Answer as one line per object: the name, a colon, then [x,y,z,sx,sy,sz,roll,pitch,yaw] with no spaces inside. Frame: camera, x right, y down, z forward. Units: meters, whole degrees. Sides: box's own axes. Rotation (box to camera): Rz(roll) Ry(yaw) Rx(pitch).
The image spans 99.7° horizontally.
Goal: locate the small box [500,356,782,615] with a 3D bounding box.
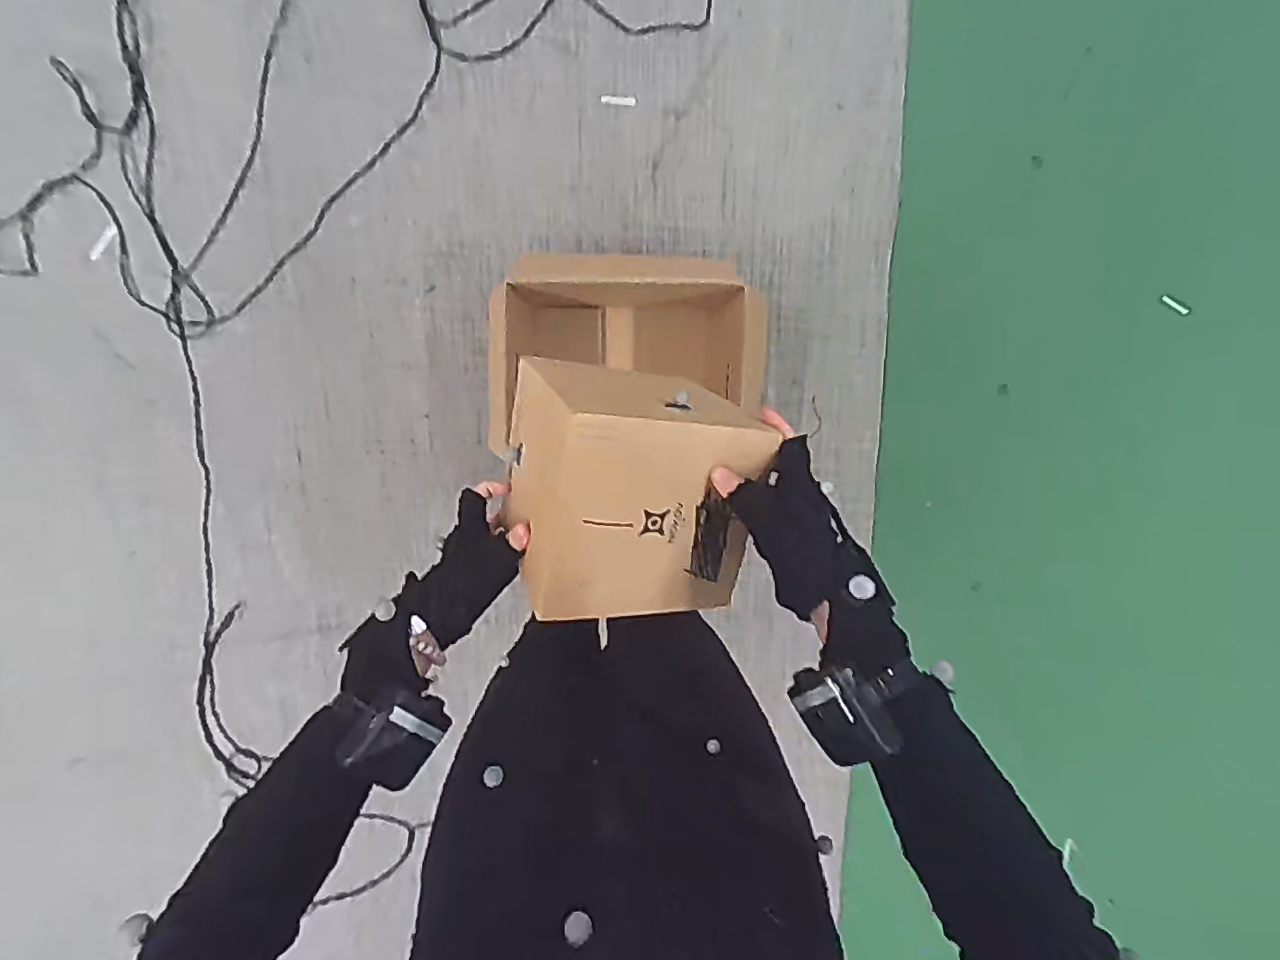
small box: [-0.014,-0.004,0.476,0.179,0.176,0.168,3,112,-25]
